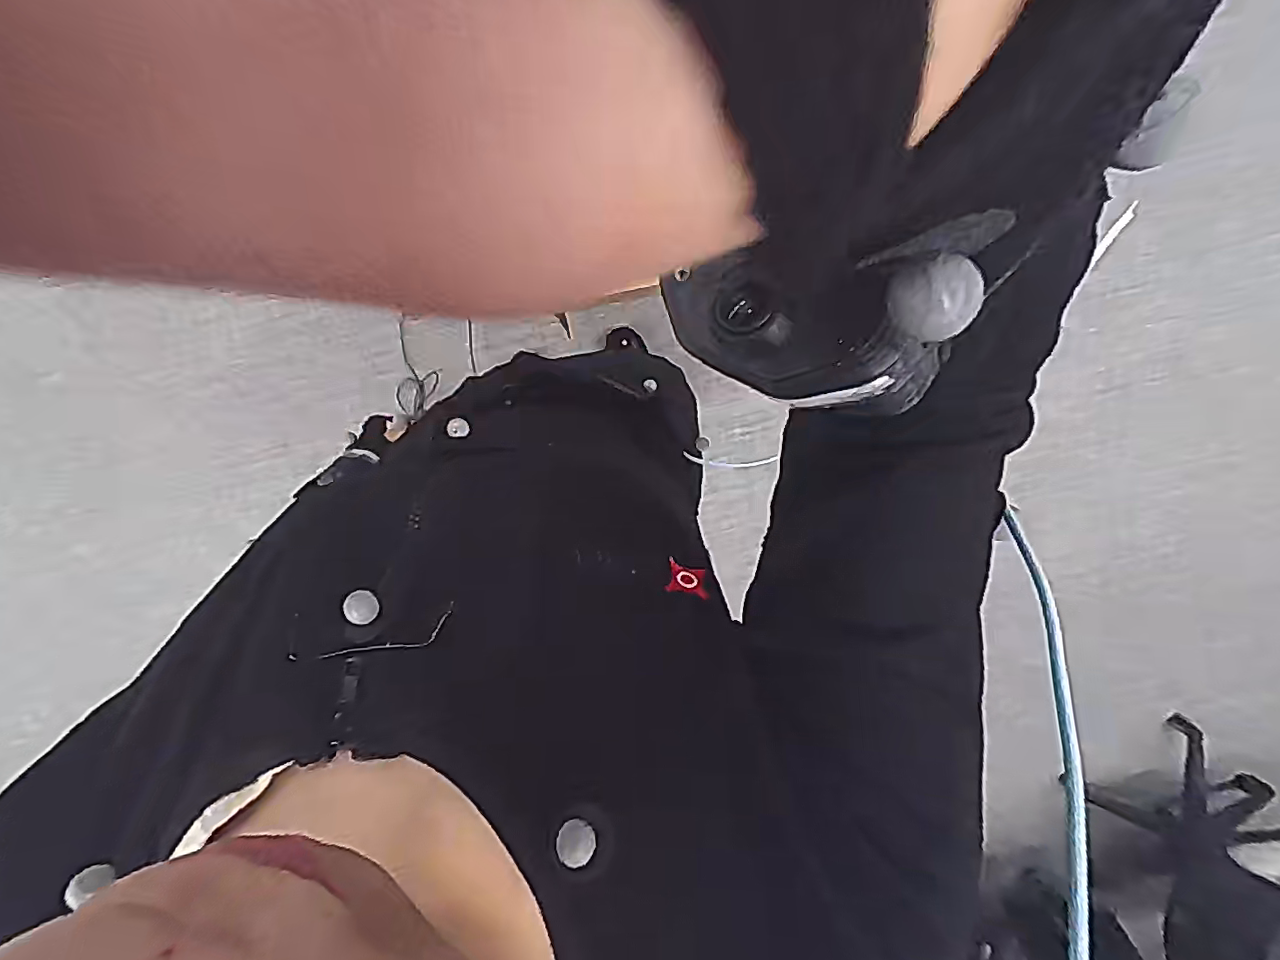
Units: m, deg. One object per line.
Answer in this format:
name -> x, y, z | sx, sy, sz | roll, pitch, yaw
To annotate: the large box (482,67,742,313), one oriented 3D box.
large box -> -0.048, -0.534, 1.073 | 0.408, 0.320, 0.320 | -11, 106, 0
